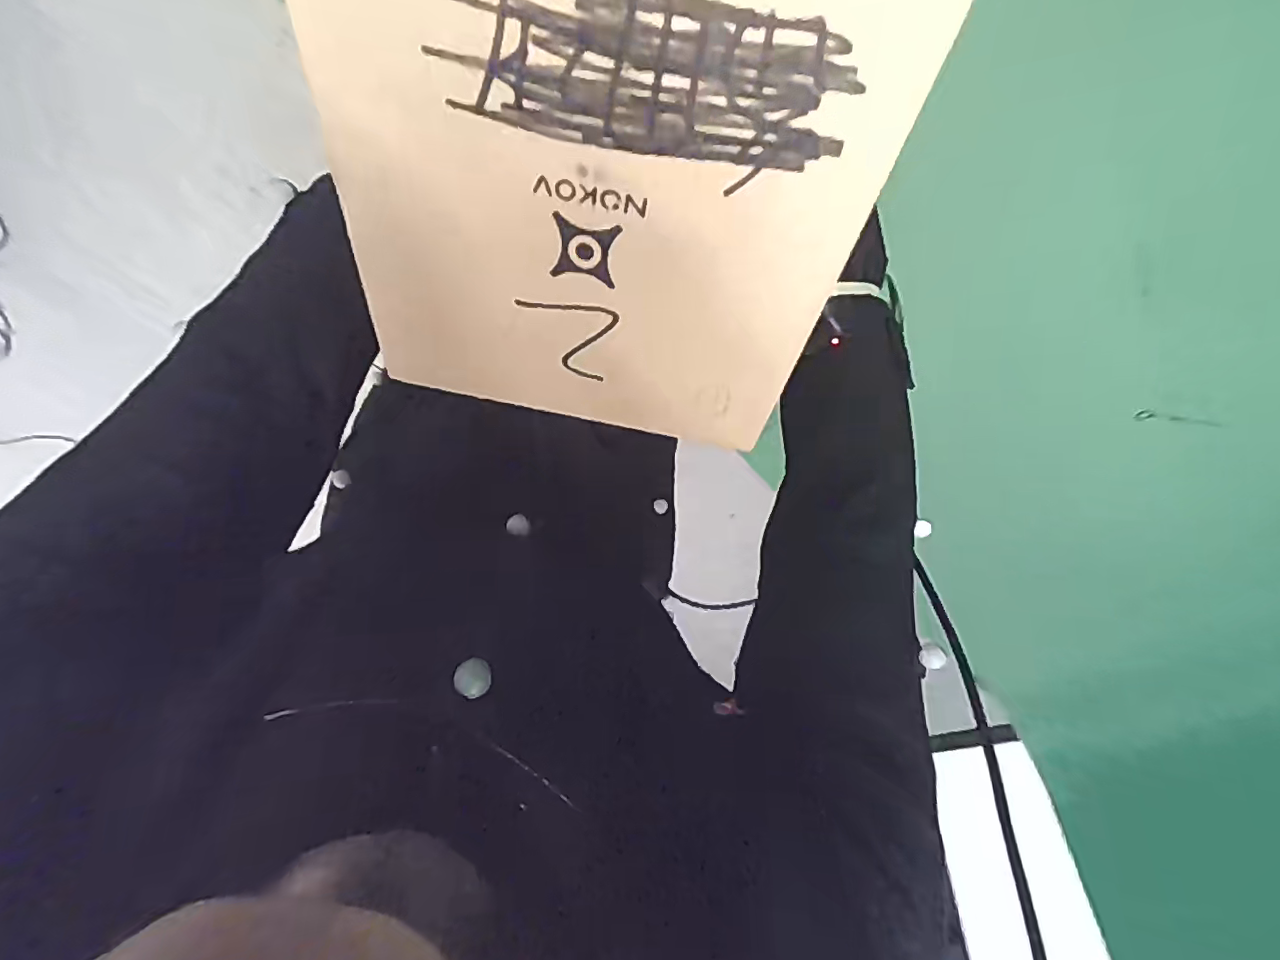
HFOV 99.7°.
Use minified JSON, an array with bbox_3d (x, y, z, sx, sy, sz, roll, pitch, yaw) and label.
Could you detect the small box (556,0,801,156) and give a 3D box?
[{"bbox_3d":[0.037,-0.399,0.424,0.168,0.176,0.179,13,142,-5],"label":"small box"}]
